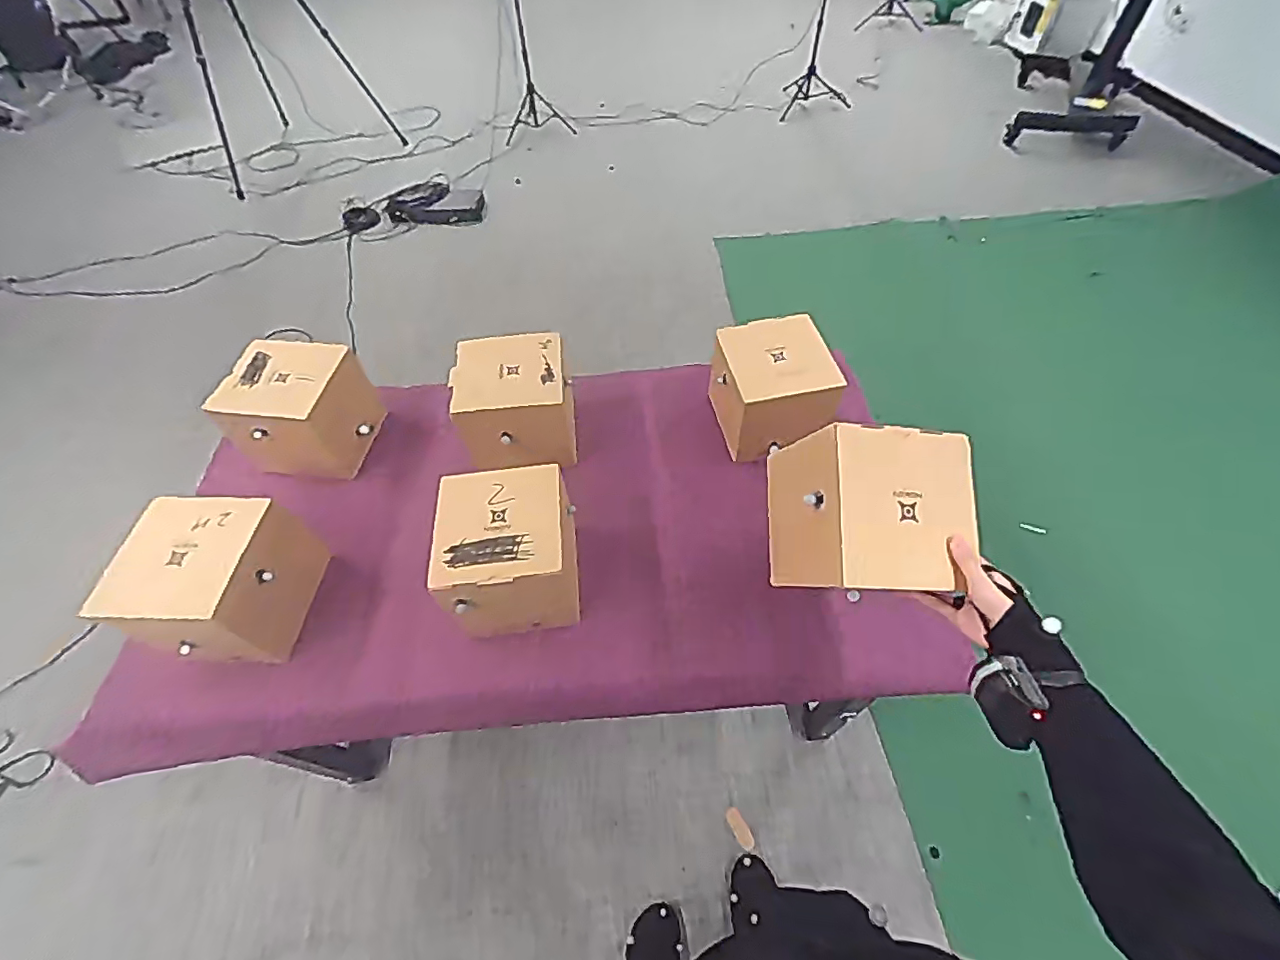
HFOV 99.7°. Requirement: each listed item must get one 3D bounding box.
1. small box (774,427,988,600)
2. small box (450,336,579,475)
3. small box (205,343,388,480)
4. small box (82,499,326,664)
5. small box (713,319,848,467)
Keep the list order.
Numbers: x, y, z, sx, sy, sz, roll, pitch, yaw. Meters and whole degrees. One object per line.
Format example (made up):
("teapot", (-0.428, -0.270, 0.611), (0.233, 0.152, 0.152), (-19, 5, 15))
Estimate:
("small box", (0.270, 0.049, 0.643), (0.168, 0.176, 0.179), (4, 78, -11))
("small box", (-0.206, -0.122, 0.930), (0.179, 0.176, 0.168), (-6, 56, -1))
("small box", (-0.576, -0.115, 0.935), (0.179, 0.176, 0.168), (5, 56, 4))
("small box", (-0.574, 0.145, 0.747), (0.168, 0.176, 0.179), (1, 54, 2))
("small box", (0.228, -0.148, 0.934), (0.168, 0.176, 0.179), (-10, 56, -3))
